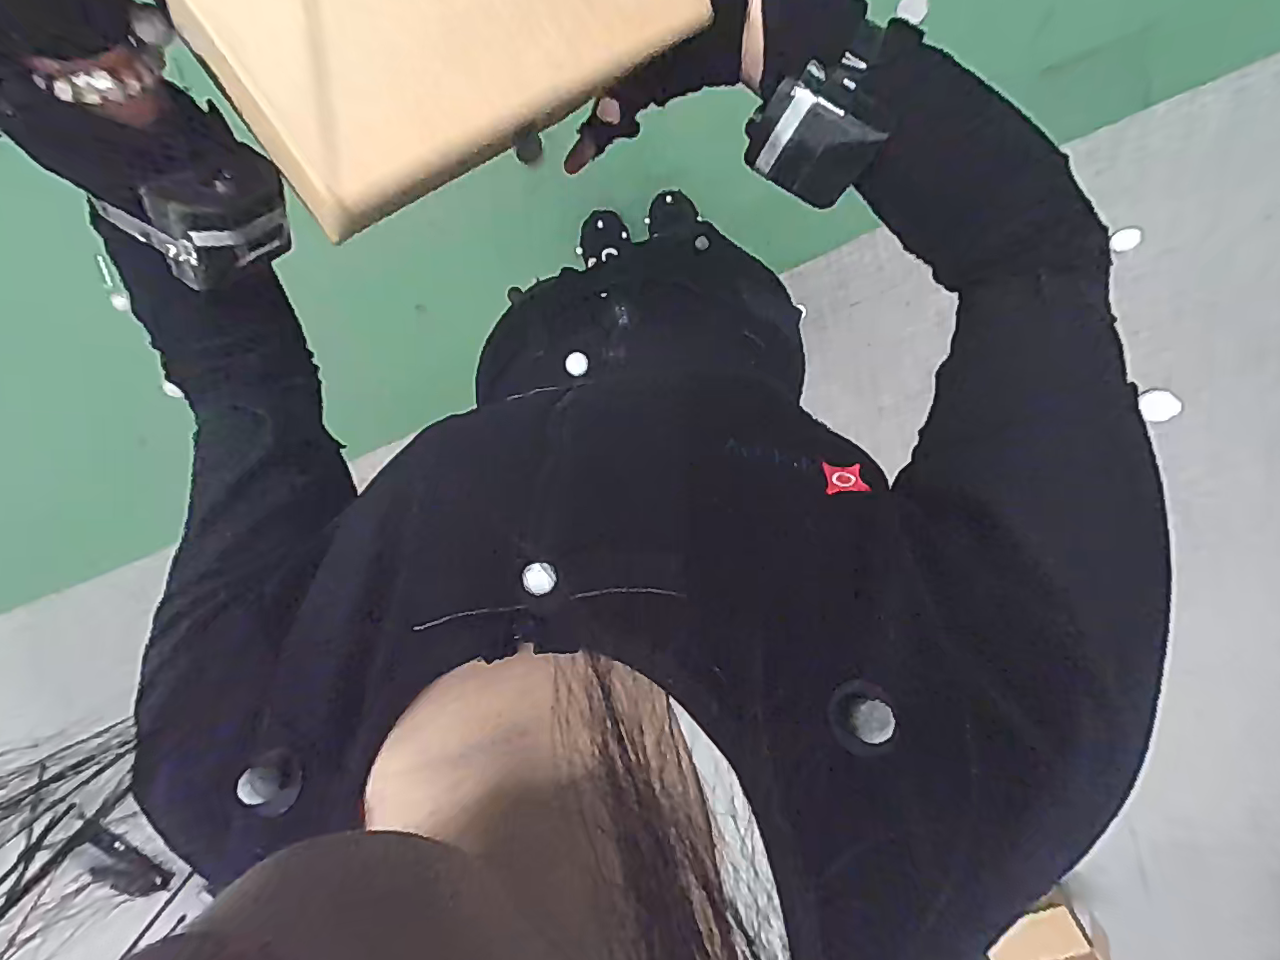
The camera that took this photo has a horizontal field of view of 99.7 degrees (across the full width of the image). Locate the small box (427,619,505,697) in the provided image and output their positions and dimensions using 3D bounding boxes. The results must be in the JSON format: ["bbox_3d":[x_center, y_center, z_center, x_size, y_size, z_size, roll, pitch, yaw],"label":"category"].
[{"bbox_3d":[-0.592,0.611,1.866,0.179,0.176,0.168,-20,118,12],"label":"small box"}]
